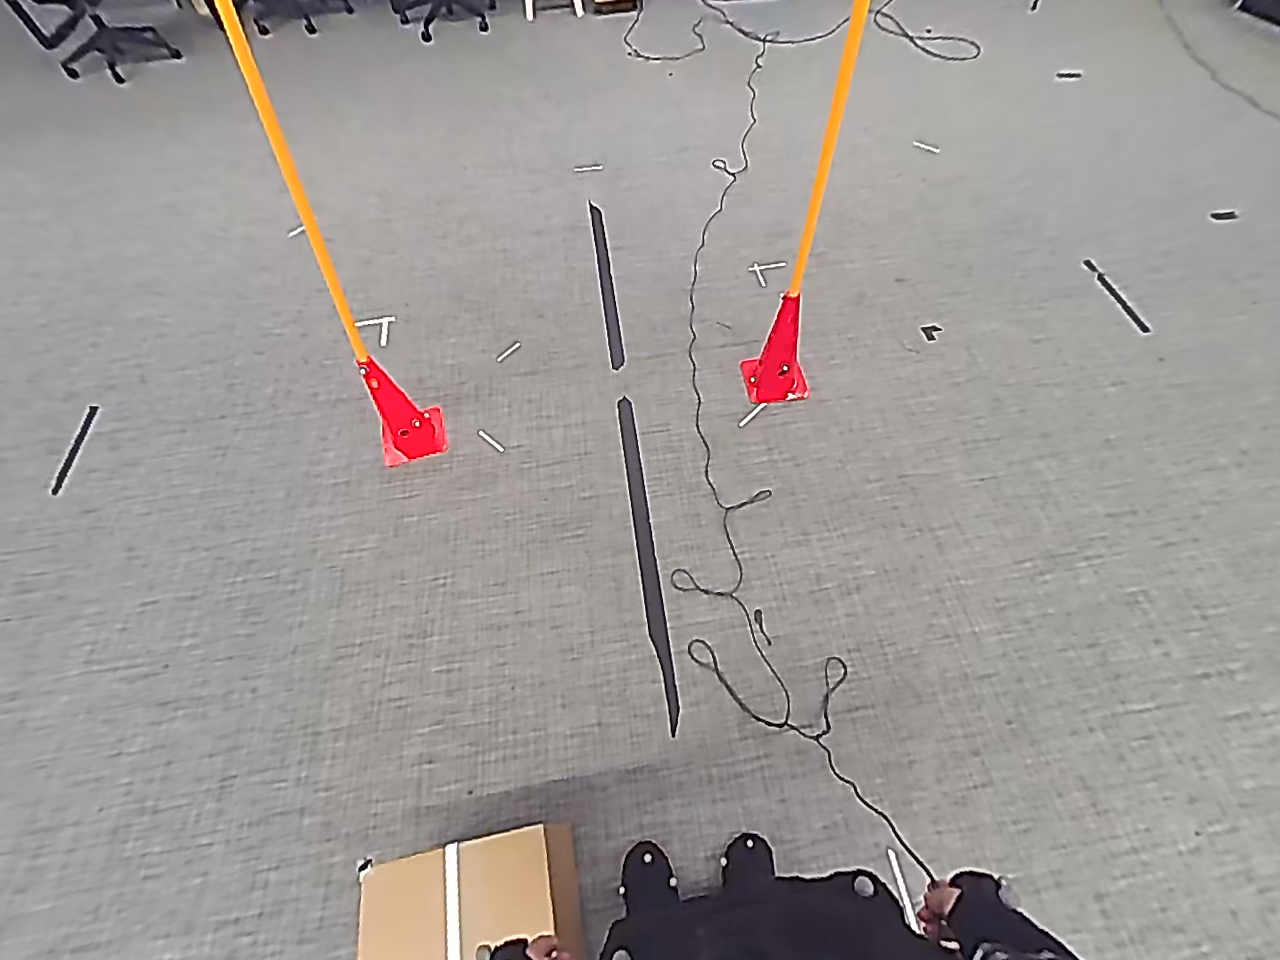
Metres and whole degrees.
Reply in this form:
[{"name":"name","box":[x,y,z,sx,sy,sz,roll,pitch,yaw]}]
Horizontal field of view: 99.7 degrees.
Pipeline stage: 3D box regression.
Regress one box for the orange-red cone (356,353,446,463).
[{"name":"orange-red cone","box":[-0.747,-0.239,1.617,0.199,0.360,0.198,-16,58,-6]}]
